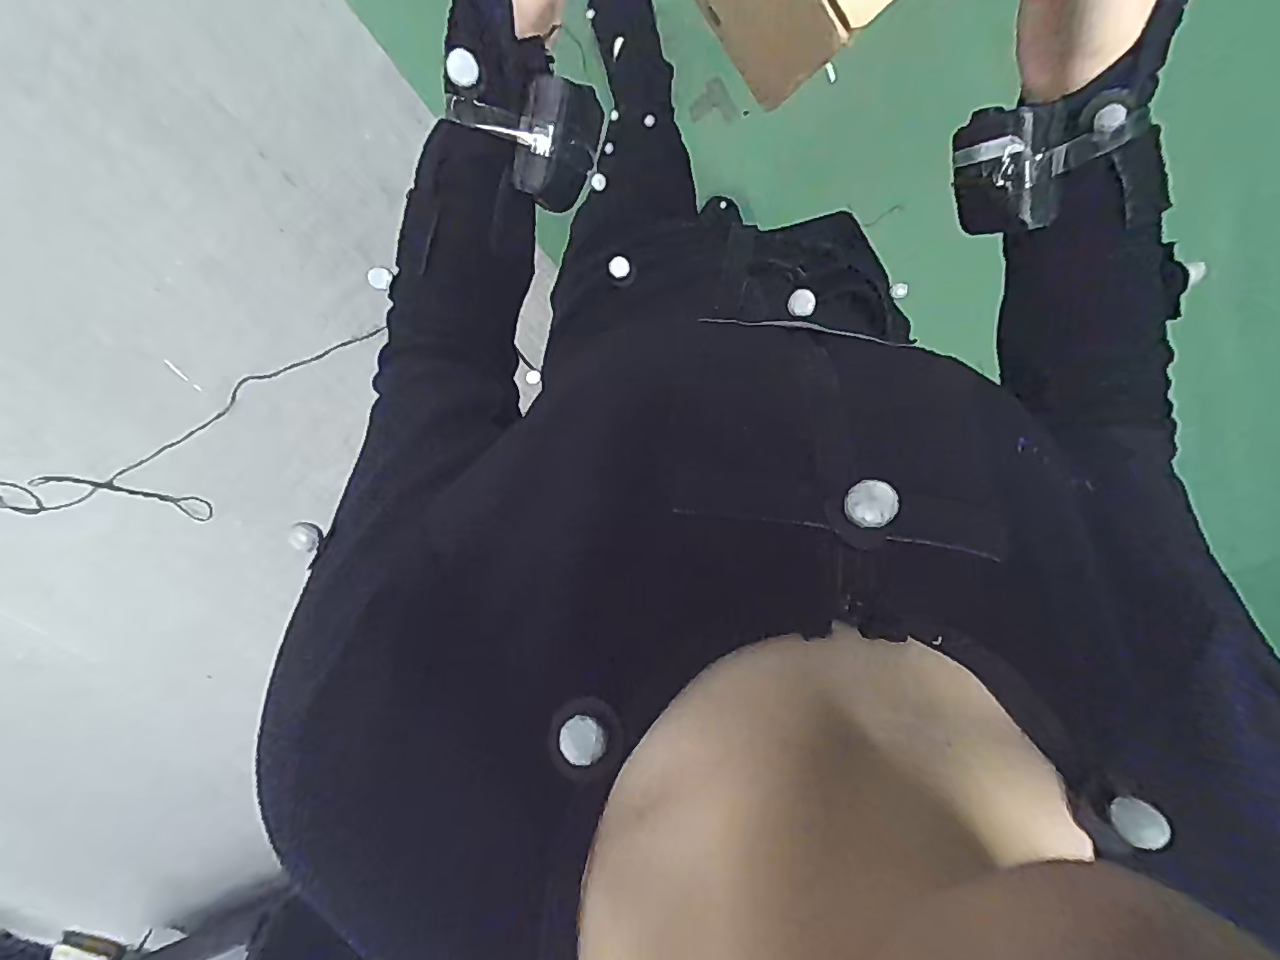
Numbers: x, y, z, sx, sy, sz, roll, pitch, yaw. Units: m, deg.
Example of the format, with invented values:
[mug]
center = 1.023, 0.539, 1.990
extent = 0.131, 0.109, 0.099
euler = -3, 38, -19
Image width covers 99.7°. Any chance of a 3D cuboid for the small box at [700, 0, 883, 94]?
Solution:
[small box]
center = 0.086, -0.306, 0.223
extent = 0.179, 0.176, 0.168
euler = -36, 109, 19
